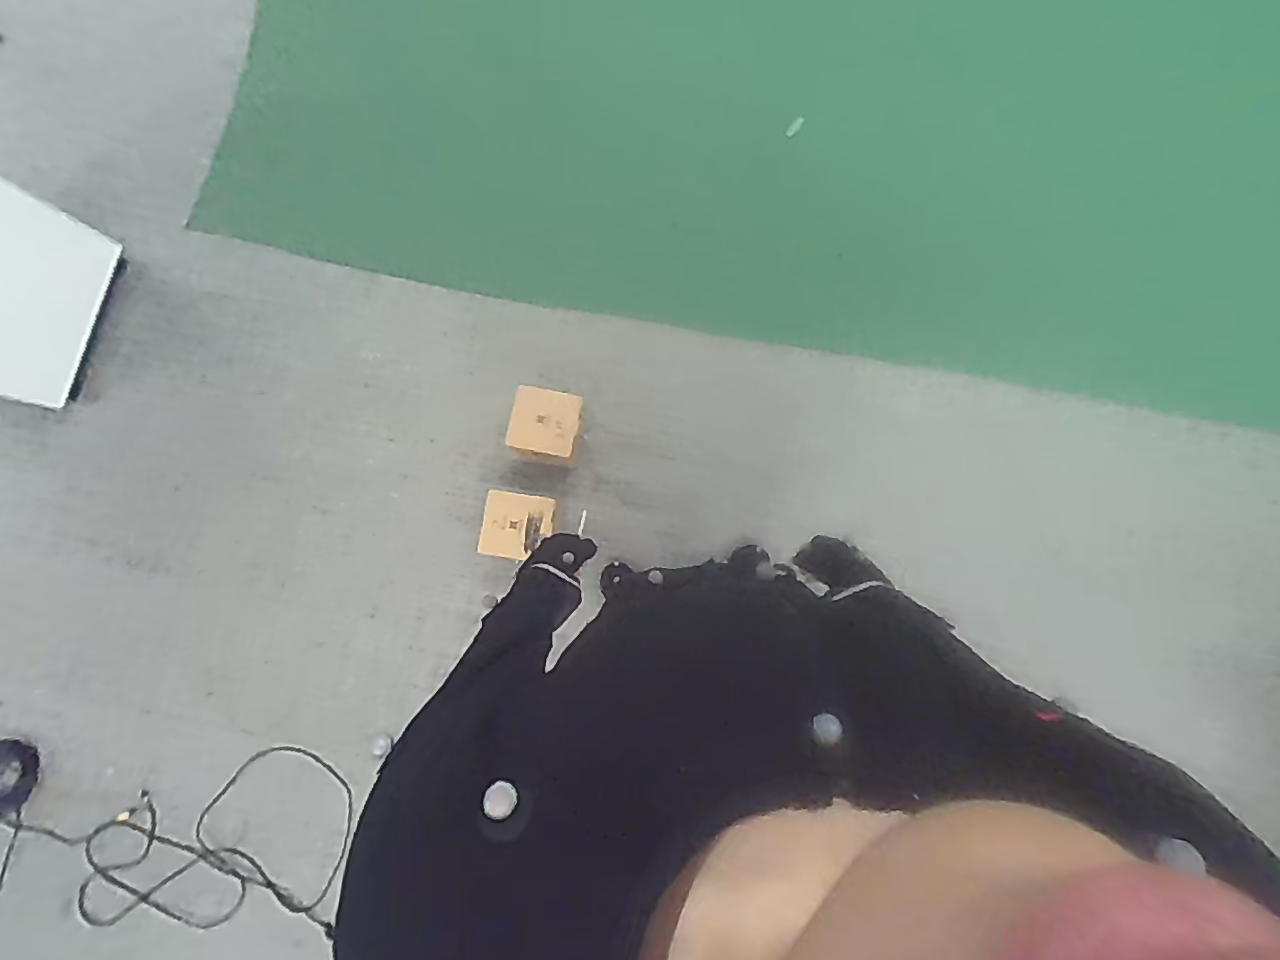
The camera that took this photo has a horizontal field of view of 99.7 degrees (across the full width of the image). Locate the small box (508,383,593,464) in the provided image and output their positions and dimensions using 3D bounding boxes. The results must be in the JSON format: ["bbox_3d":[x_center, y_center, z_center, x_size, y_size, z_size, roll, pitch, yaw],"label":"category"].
[{"bbox_3d":[-0.237,-0.147,1.471,0.179,0.176,0.168,12,83,3],"label":"small box"}]
